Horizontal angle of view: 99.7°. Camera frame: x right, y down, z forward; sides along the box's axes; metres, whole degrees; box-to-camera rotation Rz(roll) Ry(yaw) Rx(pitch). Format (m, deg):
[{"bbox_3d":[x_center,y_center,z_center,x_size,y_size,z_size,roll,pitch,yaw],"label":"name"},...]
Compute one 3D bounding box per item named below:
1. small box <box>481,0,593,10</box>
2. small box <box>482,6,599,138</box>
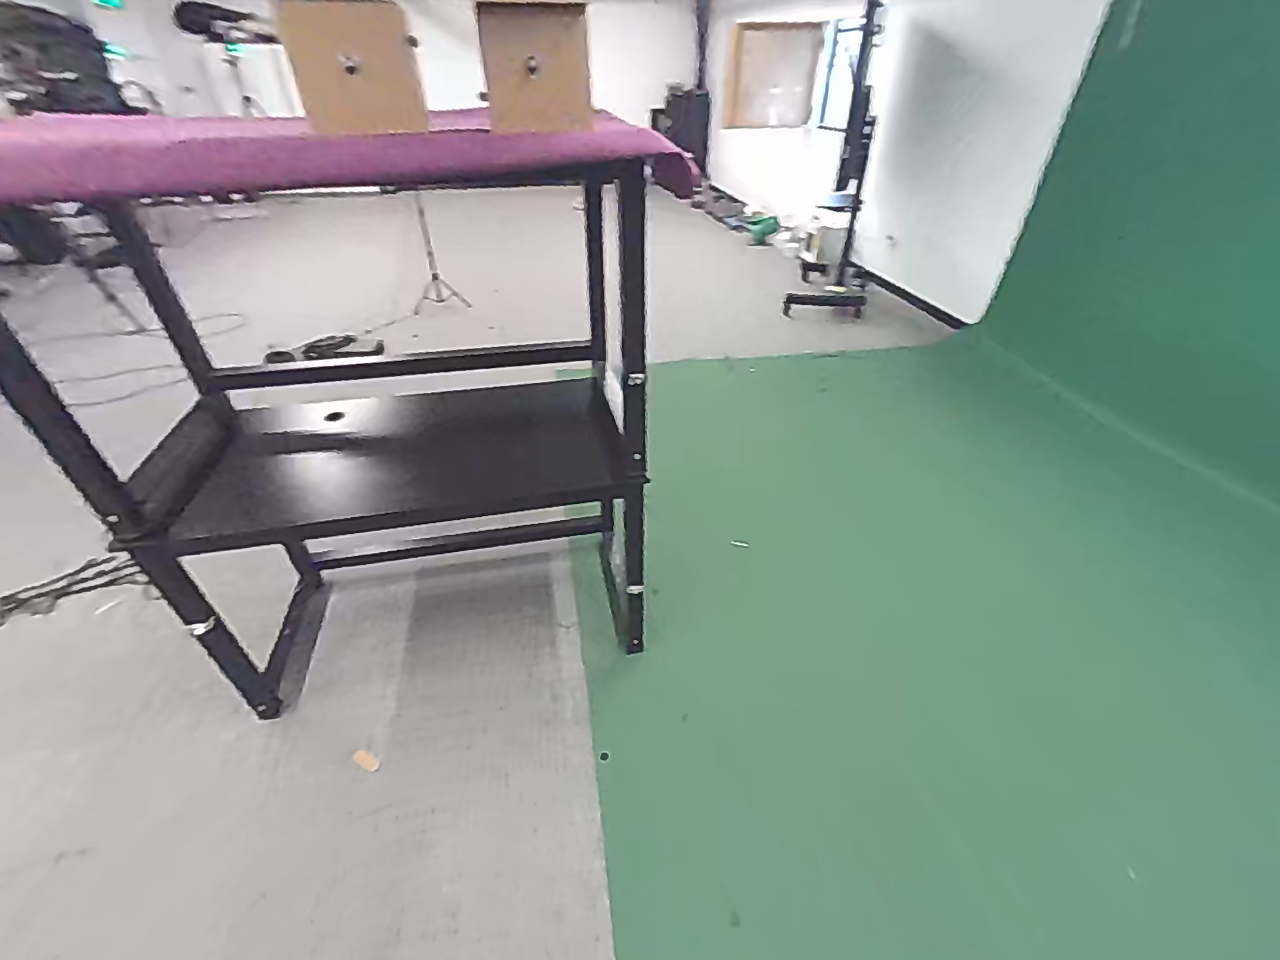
[{"bbox_3d":[-0.161,-0.821,0.820,0.179,0.176,0.168,-7,37,-9],"label":"small box"},{"bbox_3d":[-0.166,-0.701,0.935,0.179,0.176,0.168,-7,37,-8],"label":"small box"}]
